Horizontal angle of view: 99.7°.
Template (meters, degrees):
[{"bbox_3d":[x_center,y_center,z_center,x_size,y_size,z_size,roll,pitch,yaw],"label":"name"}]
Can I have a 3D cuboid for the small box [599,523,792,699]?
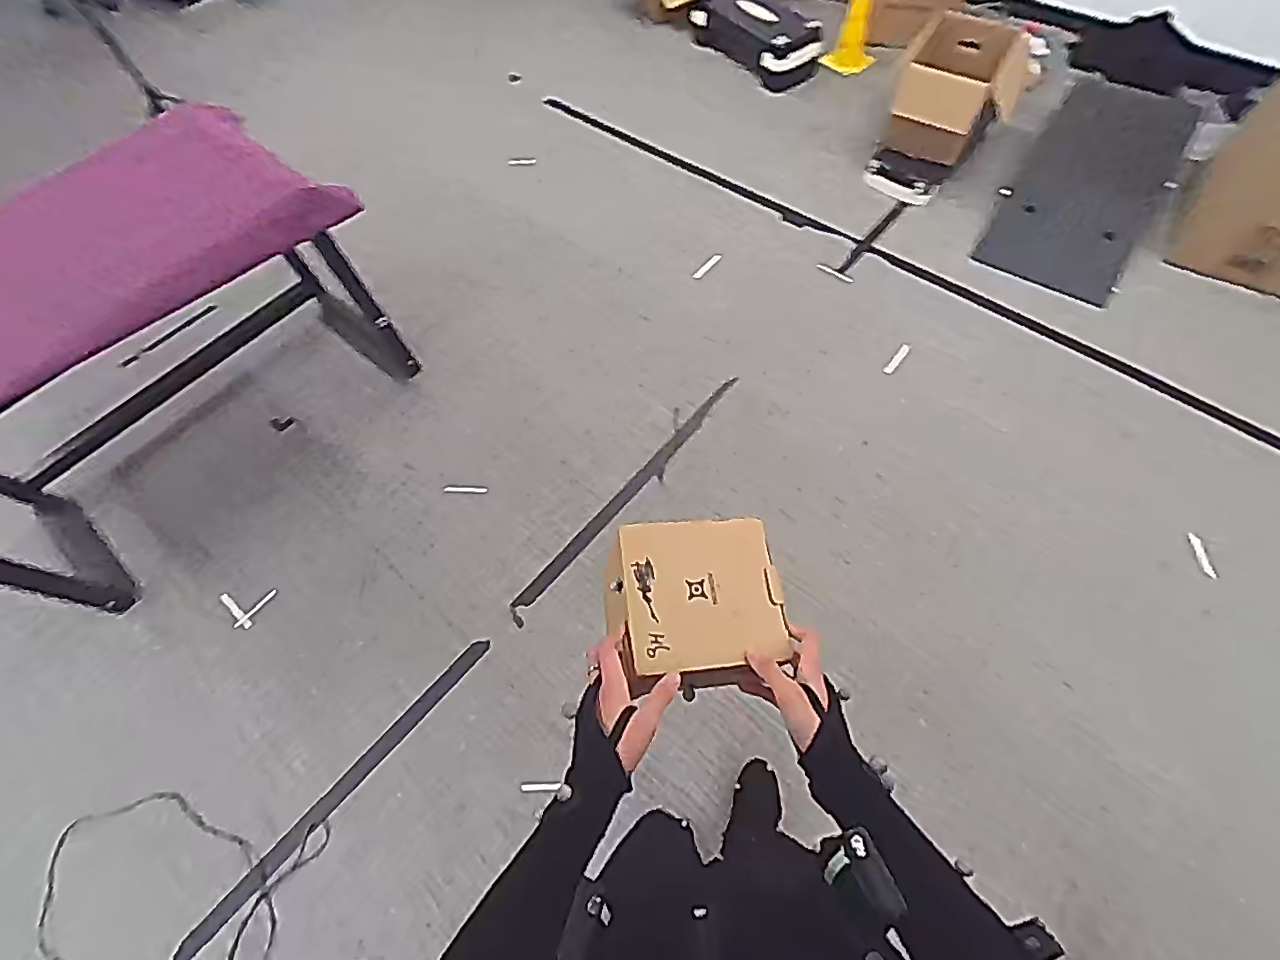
[{"bbox_3d":[0.053,0.161,0.653,0.179,0.176,0.168,-2,61,-13],"label":"small box"}]
